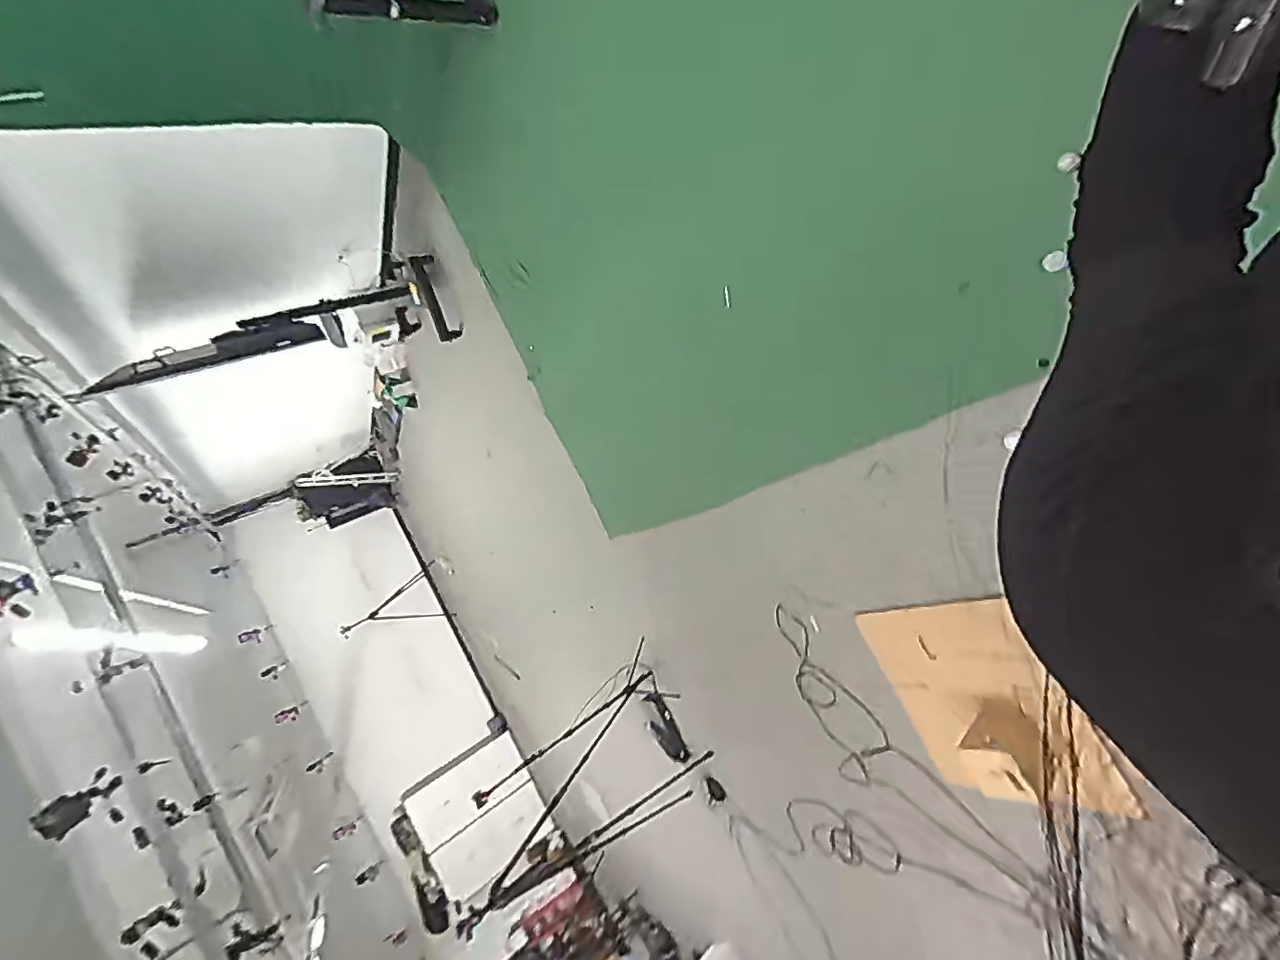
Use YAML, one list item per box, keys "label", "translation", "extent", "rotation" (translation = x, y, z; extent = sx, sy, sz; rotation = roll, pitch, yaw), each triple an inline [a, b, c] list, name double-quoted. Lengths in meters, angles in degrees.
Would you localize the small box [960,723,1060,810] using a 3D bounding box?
- label: "small box"
  translation: [1.129, 0.860, 1.642]
  extent: [0.168, 0.176, 0.179]
  rotation: [59, 149, 9]
